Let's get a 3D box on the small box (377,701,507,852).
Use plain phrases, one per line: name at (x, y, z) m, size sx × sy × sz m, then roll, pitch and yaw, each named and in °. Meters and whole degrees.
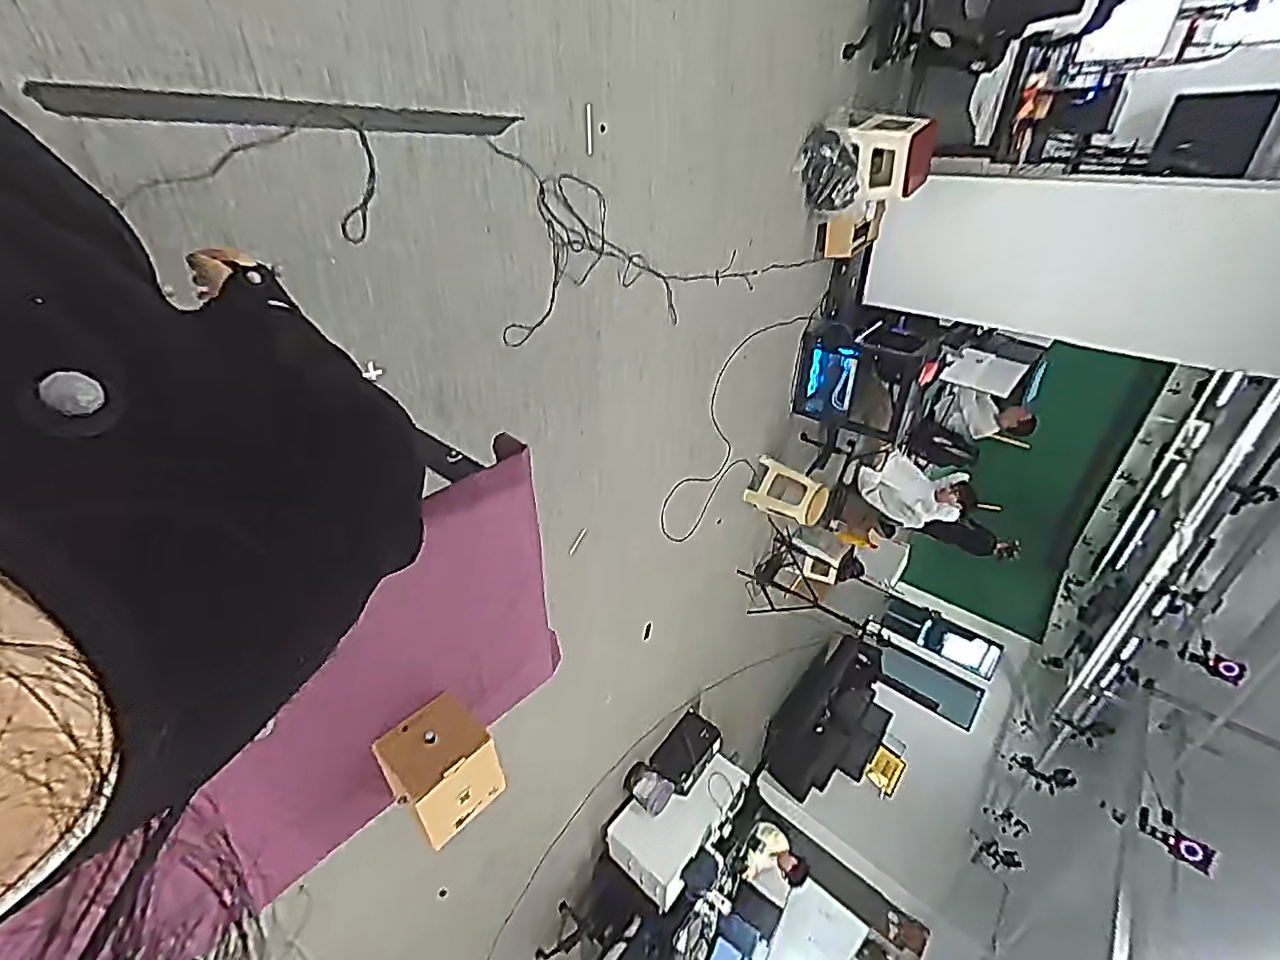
small box at (-0.393, 0.573, 1.075) m, size 0.168 × 0.176 × 0.179 m, roll -31°, pitch 131°, yaw -39°
